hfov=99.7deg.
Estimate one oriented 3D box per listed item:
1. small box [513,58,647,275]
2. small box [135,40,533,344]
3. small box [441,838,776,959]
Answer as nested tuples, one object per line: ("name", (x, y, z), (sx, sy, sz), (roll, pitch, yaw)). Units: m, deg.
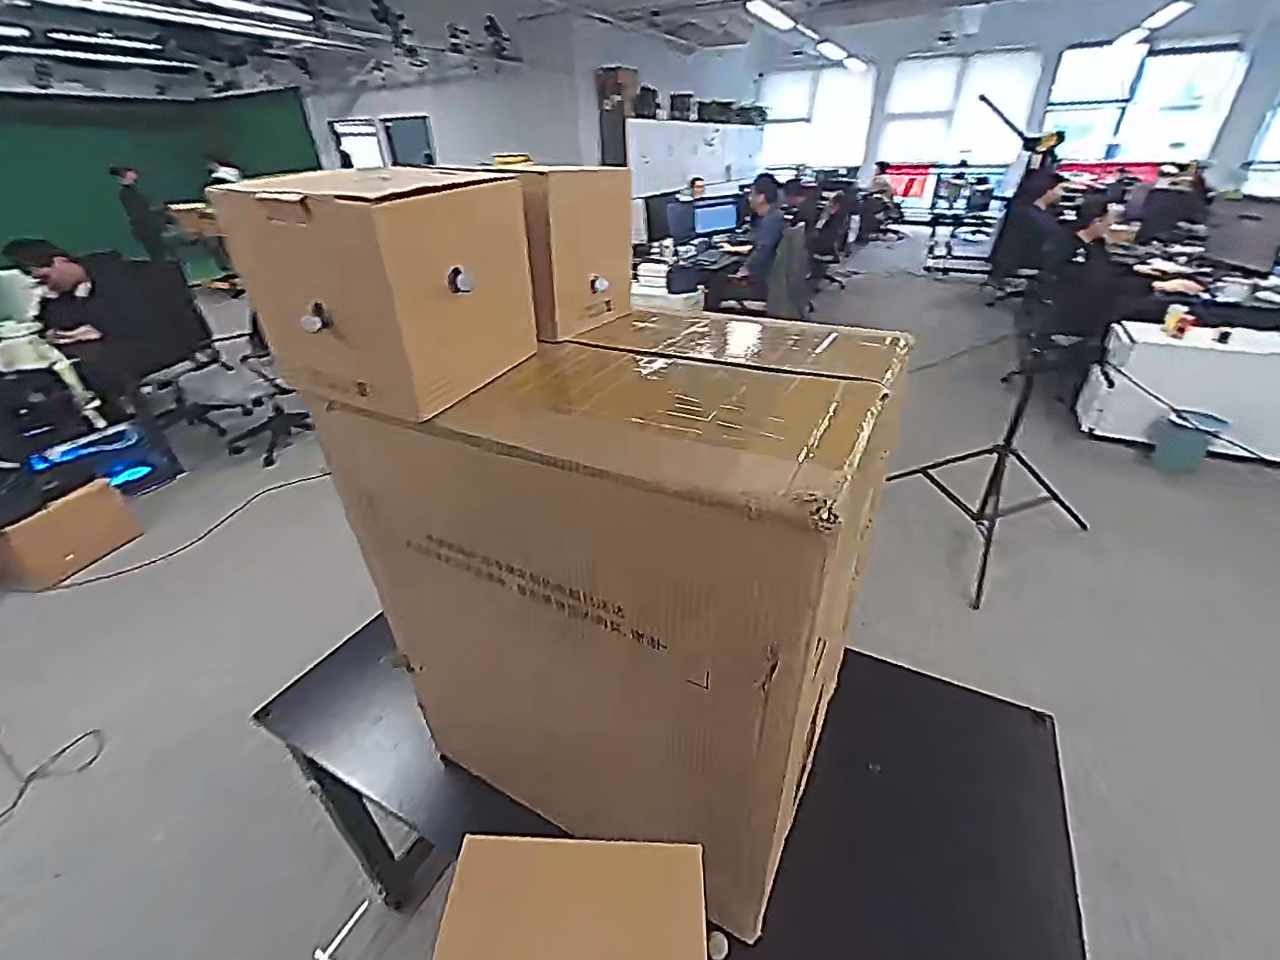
("small box", (-0.107, -0.316, 0.564), (0.179, 0.176, 0.168), (16, 34, 24))
("small box", (-0.196, -0.215, 0.406), (0.168, 0.176, 0.179), (14, 38, 18))
("small box", (-0.019, 0.320, 0.278), (0.168, 0.176, 0.179), (1, 36, 1))
